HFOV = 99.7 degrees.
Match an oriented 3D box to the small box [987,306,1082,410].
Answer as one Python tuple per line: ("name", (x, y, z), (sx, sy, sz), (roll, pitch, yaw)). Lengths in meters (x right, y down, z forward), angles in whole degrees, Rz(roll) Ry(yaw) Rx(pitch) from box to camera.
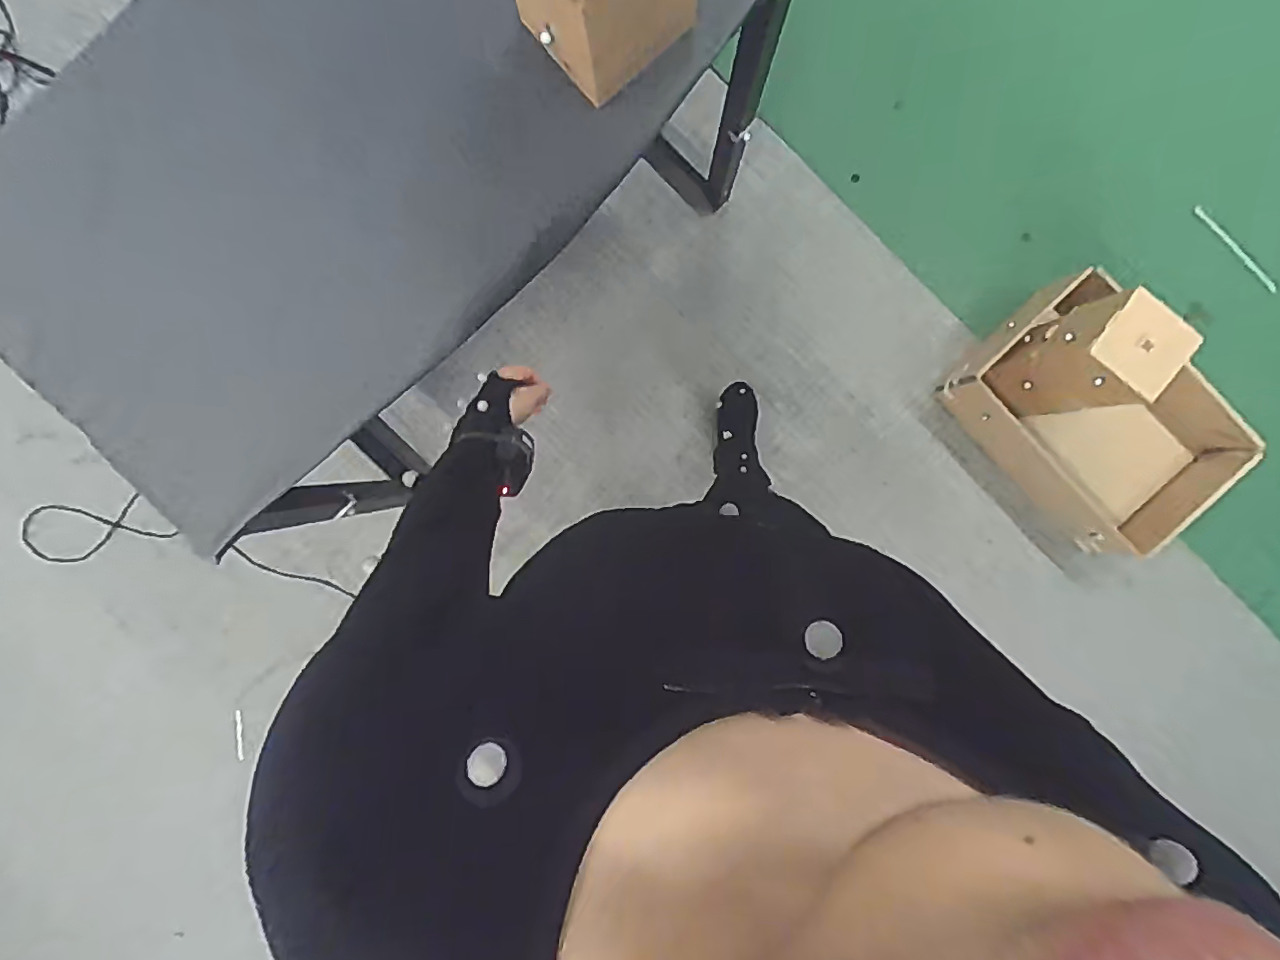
("small box", (1.011, -0.289, 1.331), (0.168, 0.176, 0.179), (-43, 91, 2))

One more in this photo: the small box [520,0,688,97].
("small box", (-0.049, -0.616, 0.634), (0.179, 0.176, 0.168), (-40, 89, 2))

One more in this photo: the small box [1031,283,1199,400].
("small box", (1.008, -0.285, 1.167), (0.179, 0.176, 0.168), (37, 93, -3))
